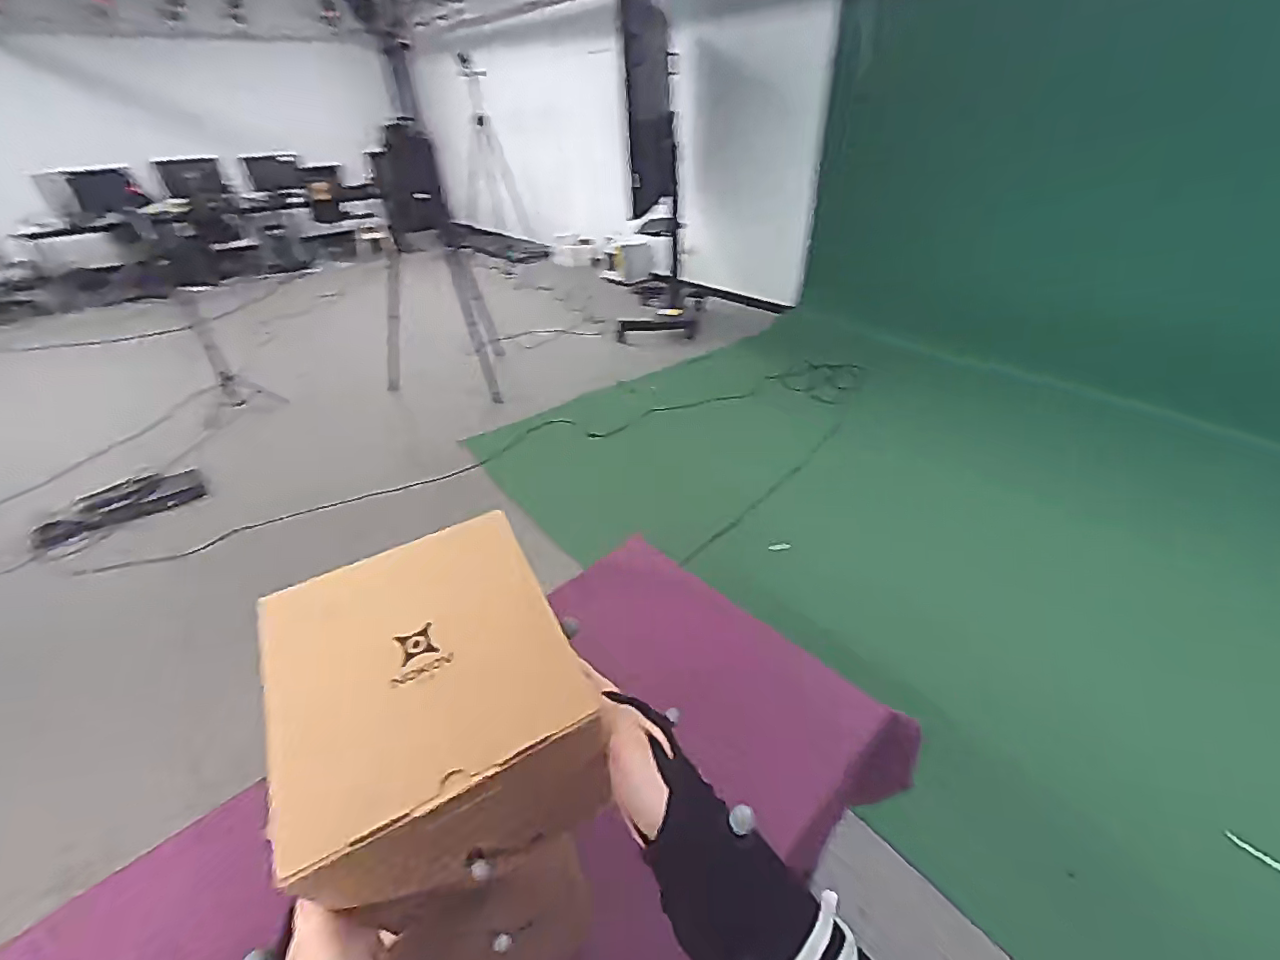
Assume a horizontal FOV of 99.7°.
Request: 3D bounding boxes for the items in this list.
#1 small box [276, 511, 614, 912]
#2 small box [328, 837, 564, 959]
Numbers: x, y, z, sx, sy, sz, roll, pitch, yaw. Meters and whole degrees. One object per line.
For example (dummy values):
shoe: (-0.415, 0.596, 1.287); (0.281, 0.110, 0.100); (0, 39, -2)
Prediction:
small box: (-0.127, 0.158, 0.380); (0.168, 0.176, 0.179); (-20, 50, -19)
small box: (-0.189, 0.338, 0.523); (0.168, 0.176, 0.179); (-25, 42, -28)
